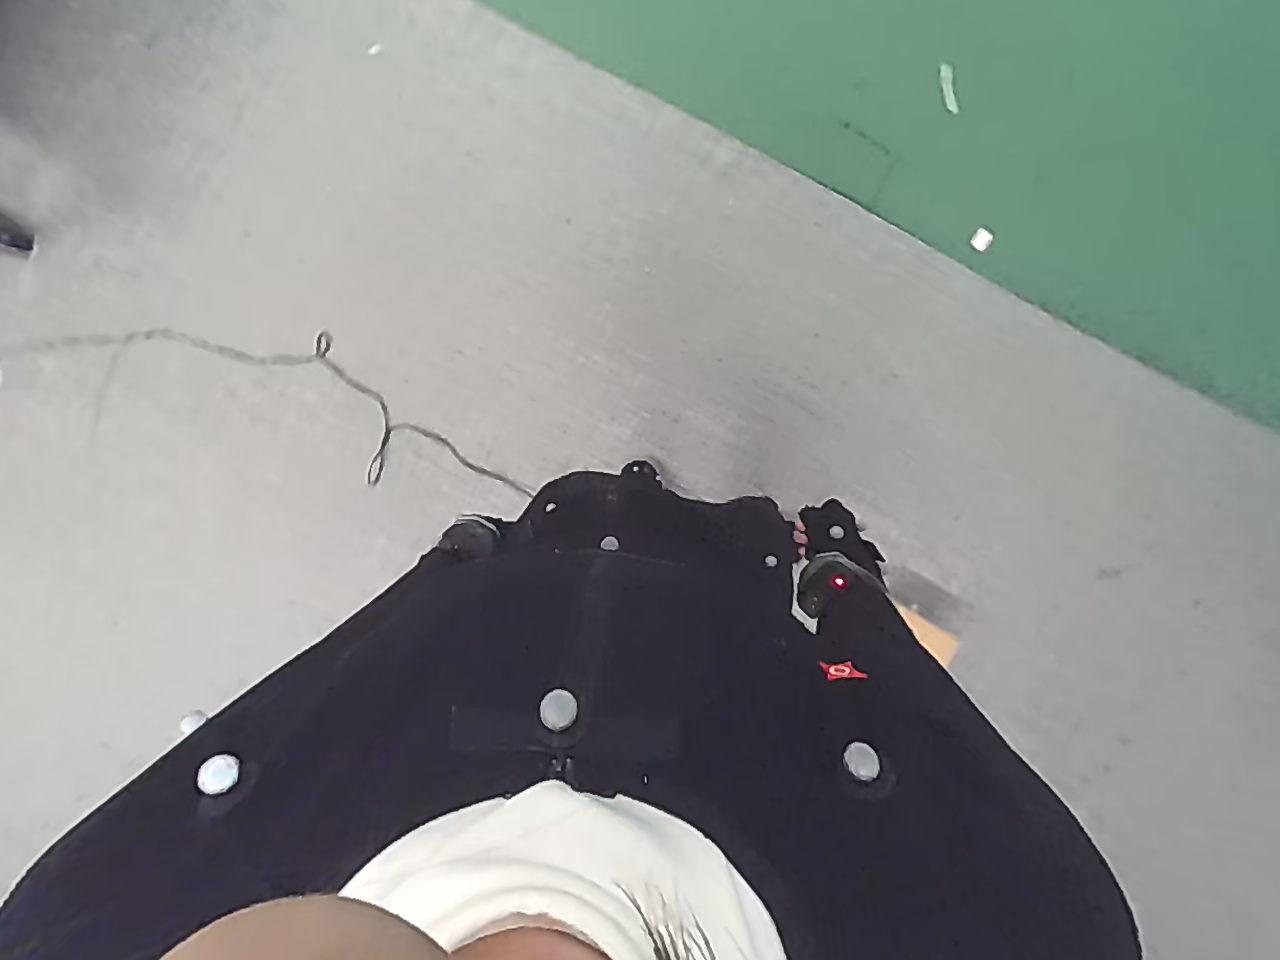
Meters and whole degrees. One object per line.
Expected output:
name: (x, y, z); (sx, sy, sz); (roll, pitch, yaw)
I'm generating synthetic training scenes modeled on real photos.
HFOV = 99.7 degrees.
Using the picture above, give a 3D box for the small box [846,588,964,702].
small box: (0.630, 0.393, 1.318); (0.168, 0.176, 0.179); (36, 95, 0)
